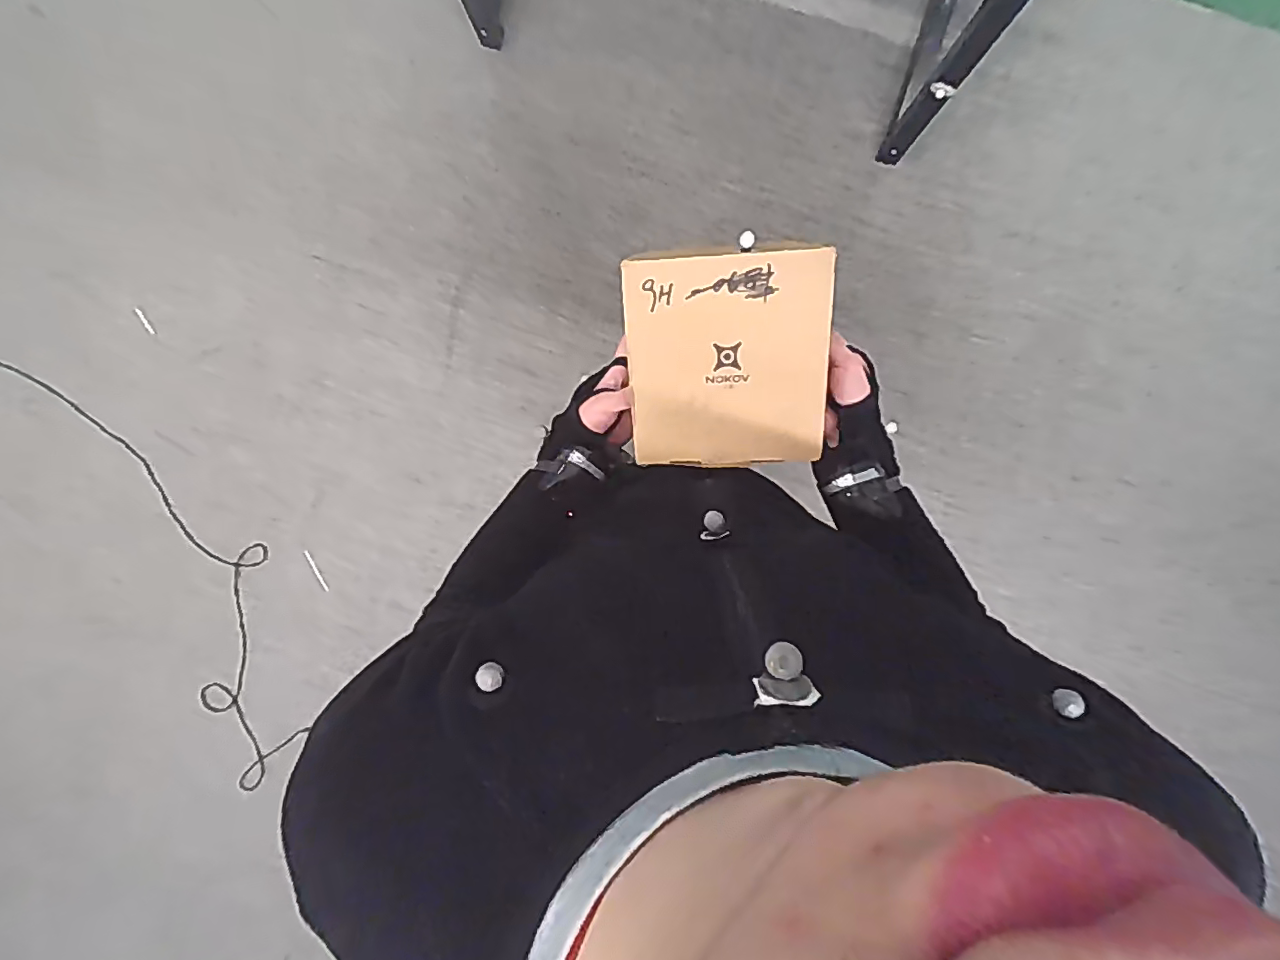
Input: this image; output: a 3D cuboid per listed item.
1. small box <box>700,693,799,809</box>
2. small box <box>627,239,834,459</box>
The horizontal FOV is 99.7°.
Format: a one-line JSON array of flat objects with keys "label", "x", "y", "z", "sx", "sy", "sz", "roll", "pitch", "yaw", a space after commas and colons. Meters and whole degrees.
[{"label": "small box", "x": 0.271, "y": 0.681, "z": 1.381, "sx": 0.179, "sy": 0.176, "sz": 0.168, "roll": 31, "pitch": 93, "yaw": -1}, {"label": "small box", "x": 0.081, "y": -0.134, "z": 0.534, "sx": 0.168, "sy": 0.176, "sz": 0.179, "roll": -1, "pitch": 116, "yaw": 6}]
